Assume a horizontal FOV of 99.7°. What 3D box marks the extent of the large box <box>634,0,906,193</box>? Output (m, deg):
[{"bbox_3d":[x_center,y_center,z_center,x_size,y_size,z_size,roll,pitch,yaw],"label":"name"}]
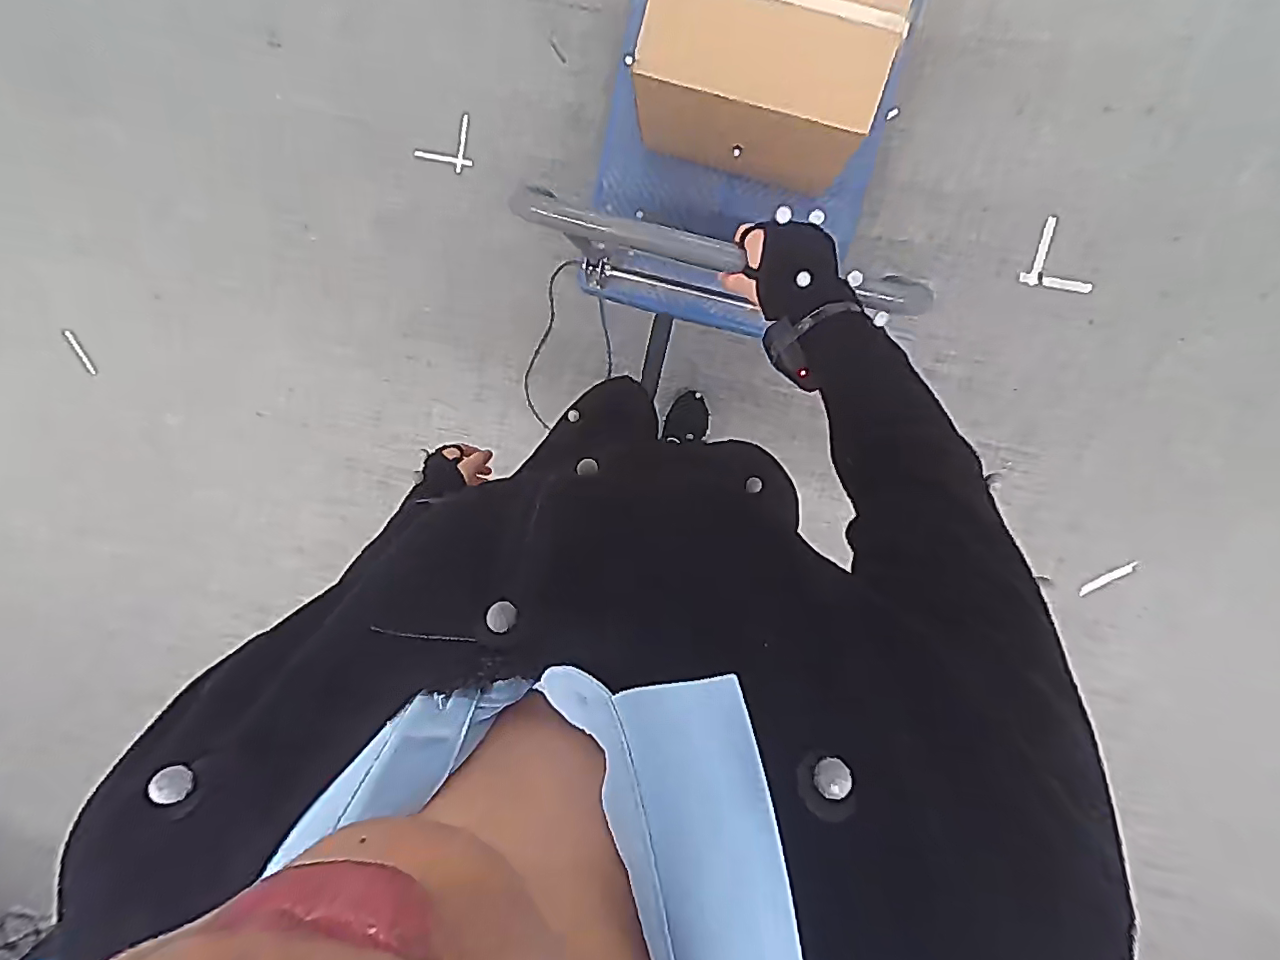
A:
[{"bbox_3d":[0.231,-0.790,1.014,0.408,0.320,0.320,16,100,2],"label":"large box"}]
